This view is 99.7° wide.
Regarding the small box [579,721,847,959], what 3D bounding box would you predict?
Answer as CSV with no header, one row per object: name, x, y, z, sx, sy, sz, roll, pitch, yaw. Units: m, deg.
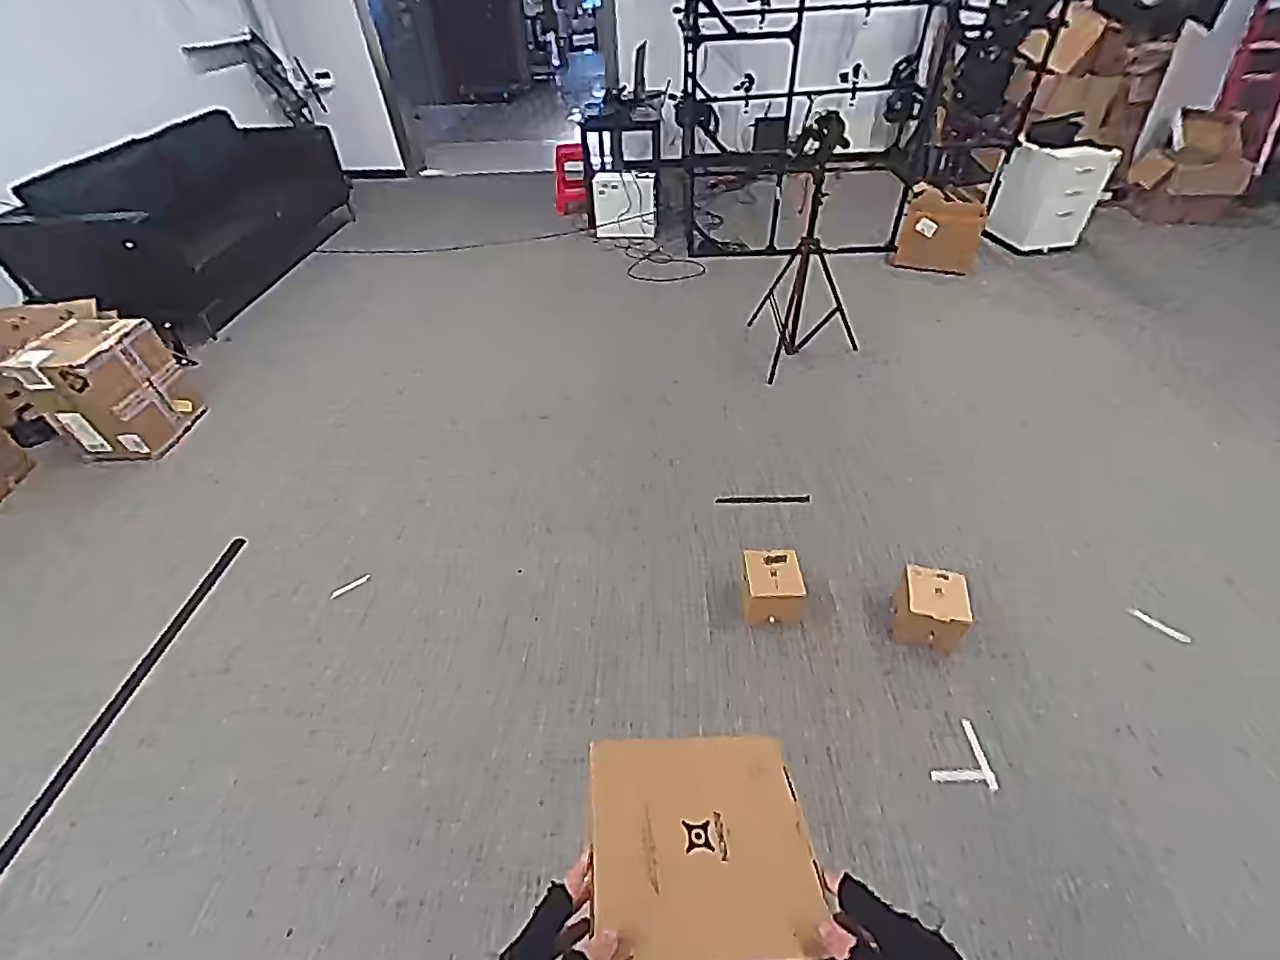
small box,0.041,0.334,0.468,0.179,0.176,0.168,1,33,-9

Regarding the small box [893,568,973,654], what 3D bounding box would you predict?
small box,0.874,0.398,1.628,0.168,0.176,0.179,10,45,13

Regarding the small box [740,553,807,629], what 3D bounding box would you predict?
small box,0.413,0.348,1.705,0.168,0.176,0.179,-1,44,2
